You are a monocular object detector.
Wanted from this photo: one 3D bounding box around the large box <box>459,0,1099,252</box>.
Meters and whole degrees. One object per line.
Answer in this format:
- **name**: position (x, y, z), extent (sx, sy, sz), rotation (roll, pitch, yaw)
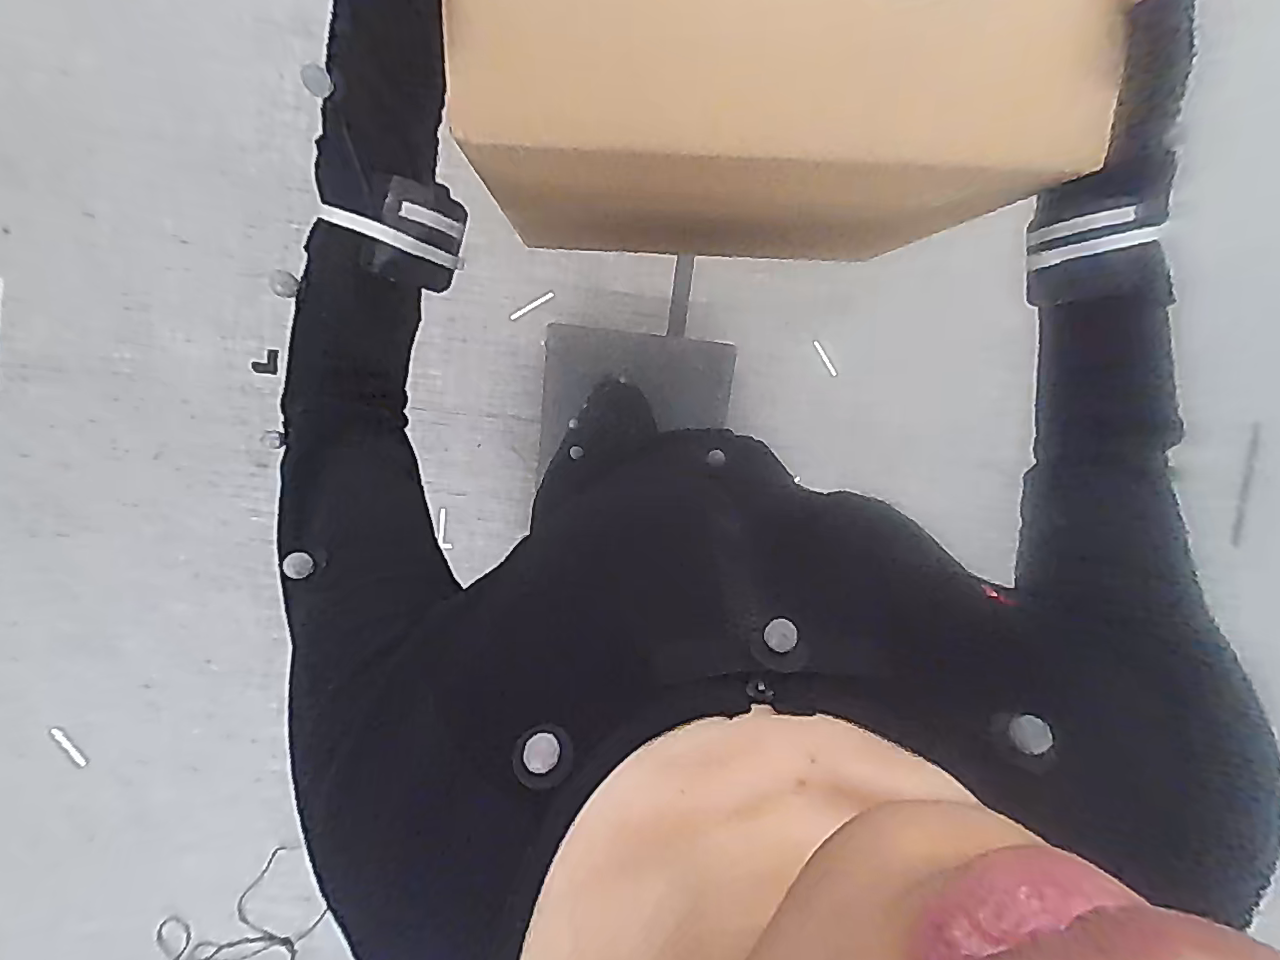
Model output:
- **large box**: position (0.079, -0.390, 0.460), extent (0.408, 0.320, 0.320), rotation (0, 102, -4)
